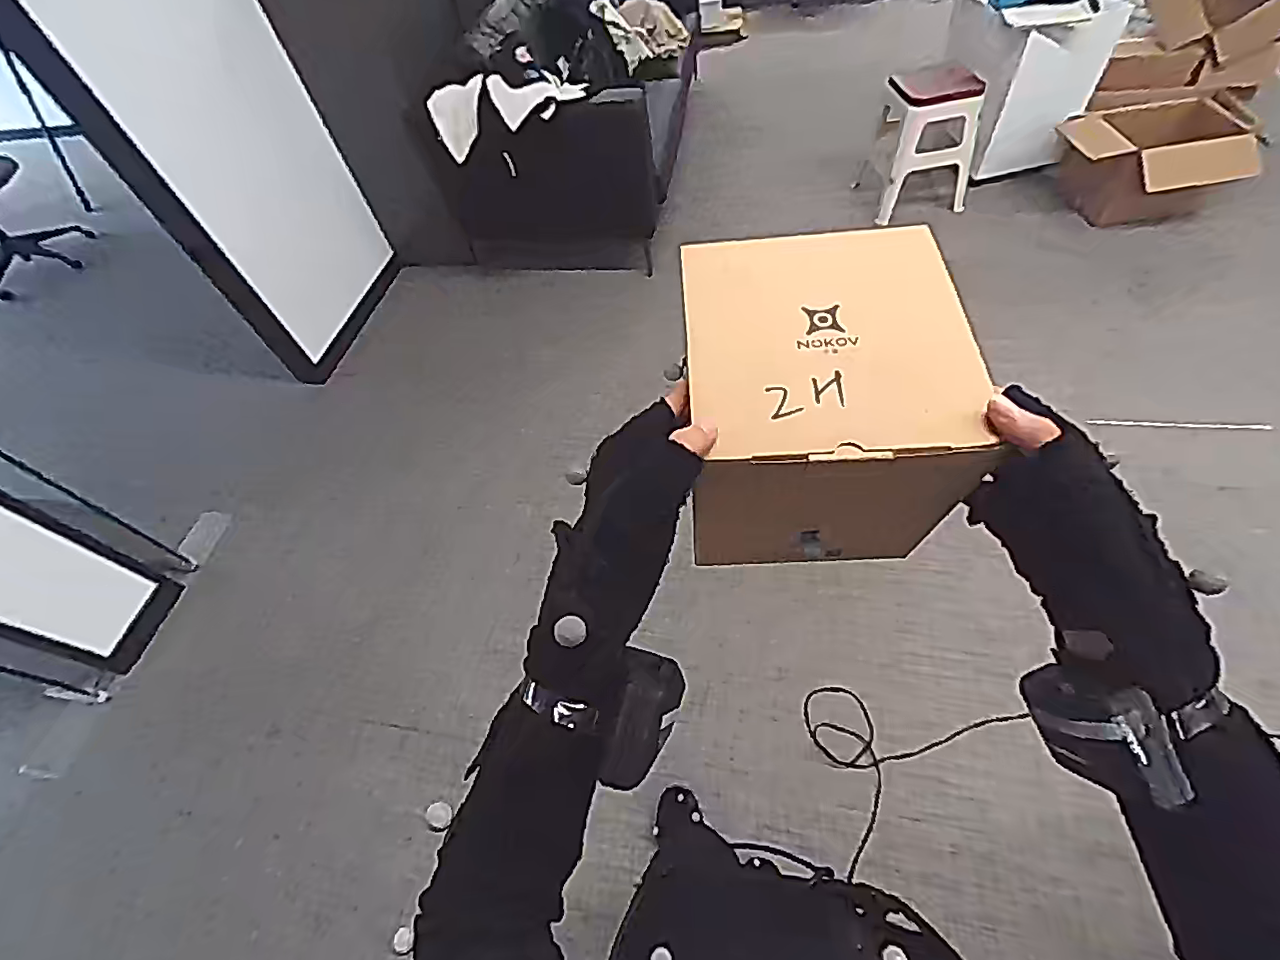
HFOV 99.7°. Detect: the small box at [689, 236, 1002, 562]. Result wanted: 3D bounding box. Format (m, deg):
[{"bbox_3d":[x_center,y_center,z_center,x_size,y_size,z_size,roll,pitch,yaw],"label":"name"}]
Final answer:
[{"bbox_3d":[0.120,-0.050,0.403,0.168,0.176,0.179,-2,61,5],"label":"small box"}]
